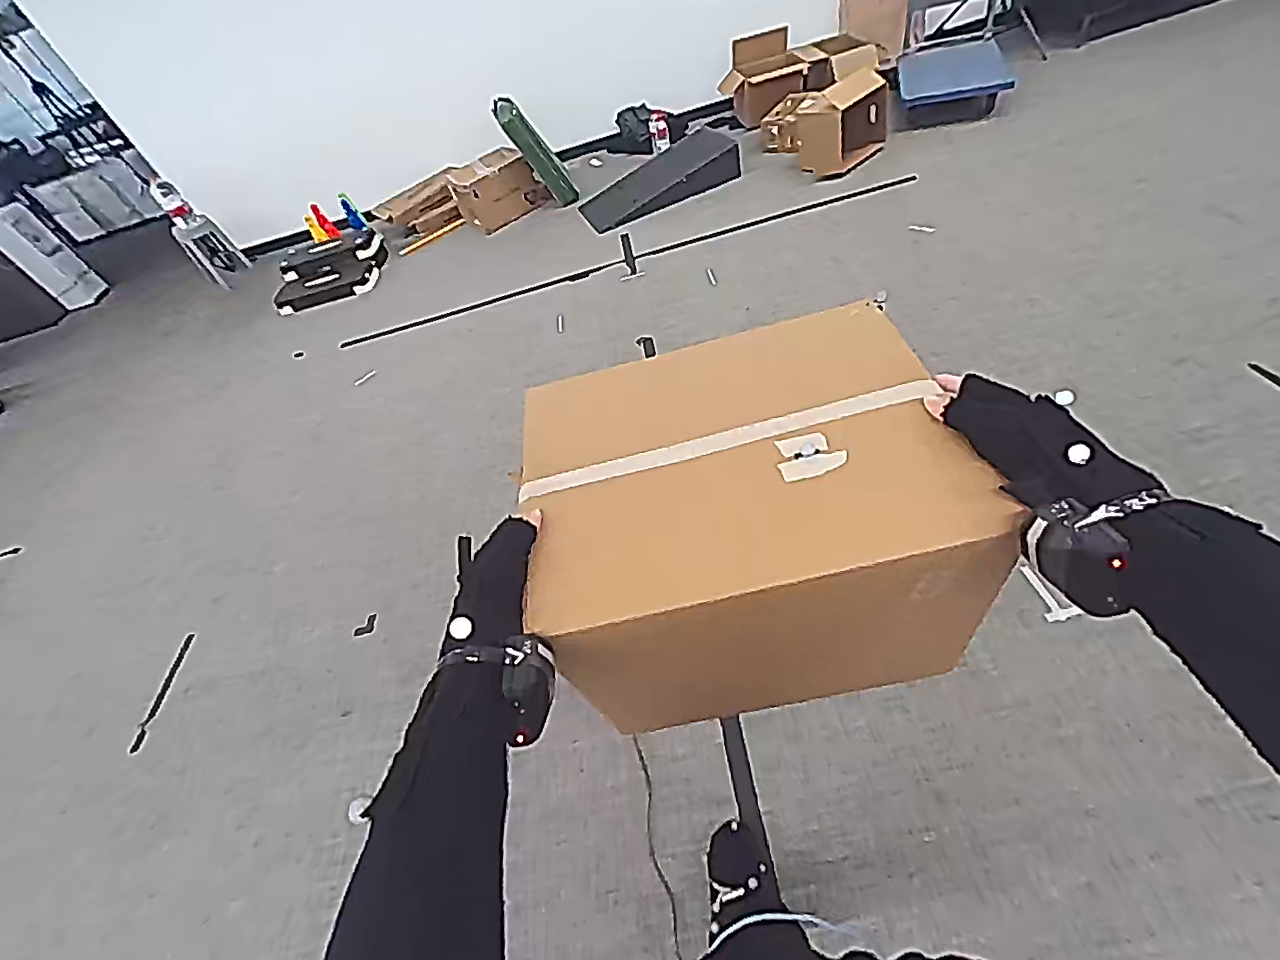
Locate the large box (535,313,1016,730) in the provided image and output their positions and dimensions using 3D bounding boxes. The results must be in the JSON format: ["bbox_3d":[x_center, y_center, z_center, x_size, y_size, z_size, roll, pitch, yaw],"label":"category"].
[{"bbox_3d":[0.117,0.062,0.645,0.408,0.320,0.320,-14,50,5],"label":"large box"}]
